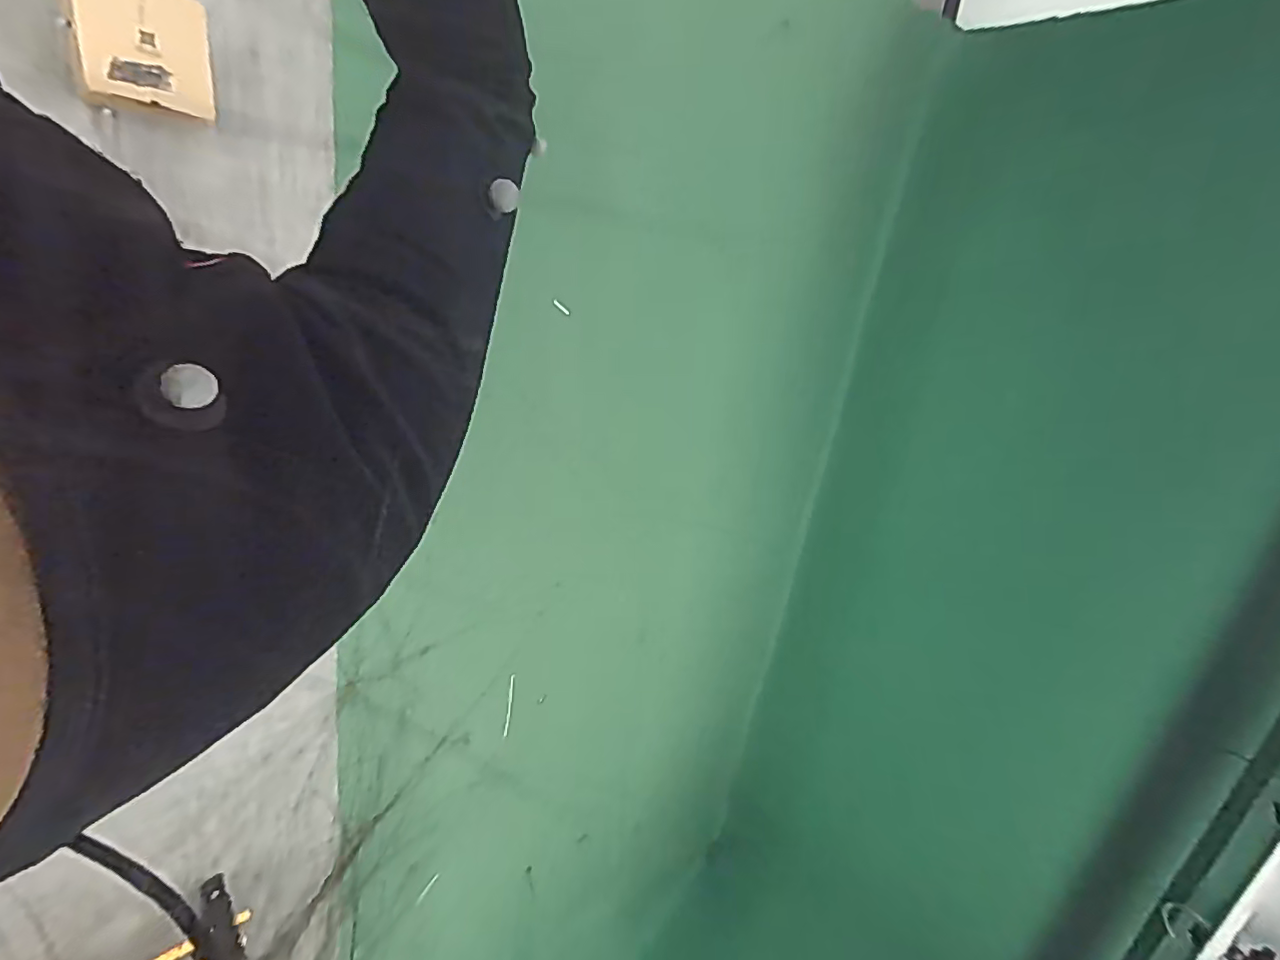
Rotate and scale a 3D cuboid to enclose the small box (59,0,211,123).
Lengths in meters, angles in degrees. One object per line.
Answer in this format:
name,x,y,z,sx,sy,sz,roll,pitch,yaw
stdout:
small box,-0.849,-0.729,0.912,0.168,0.176,0.179,-12,117,-46
